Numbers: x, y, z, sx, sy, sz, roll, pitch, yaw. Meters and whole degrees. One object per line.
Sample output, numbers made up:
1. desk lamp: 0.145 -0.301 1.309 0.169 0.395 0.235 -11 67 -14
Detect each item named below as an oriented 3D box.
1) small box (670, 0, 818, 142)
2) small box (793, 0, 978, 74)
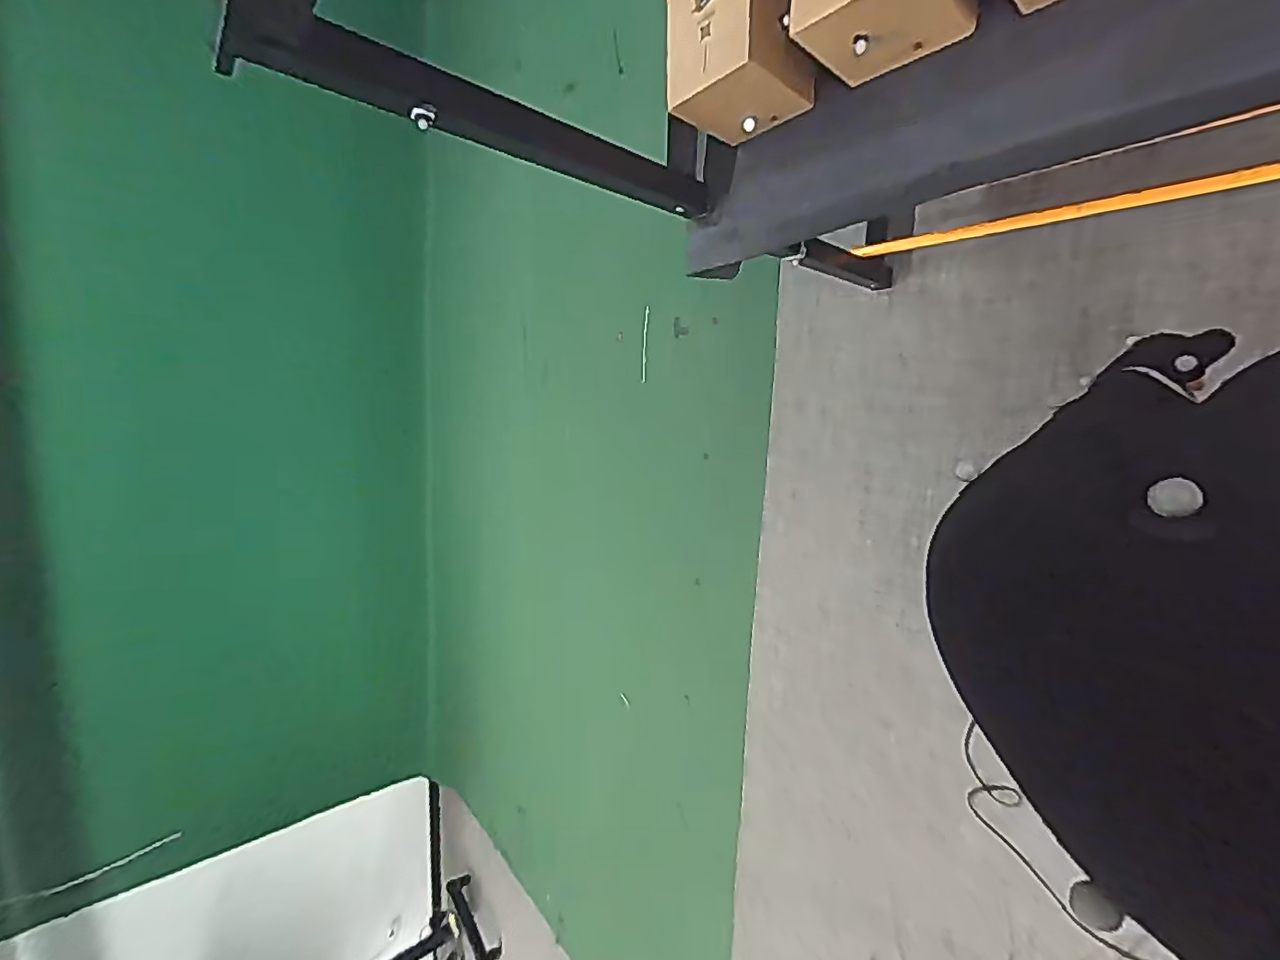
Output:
1. small box: 0.165 -0.675 0.846 0.168 0.176 0.179 7 99 49
2. small box: 0.314 -0.653 0.676 0.168 0.176 0.179 11 101 48
